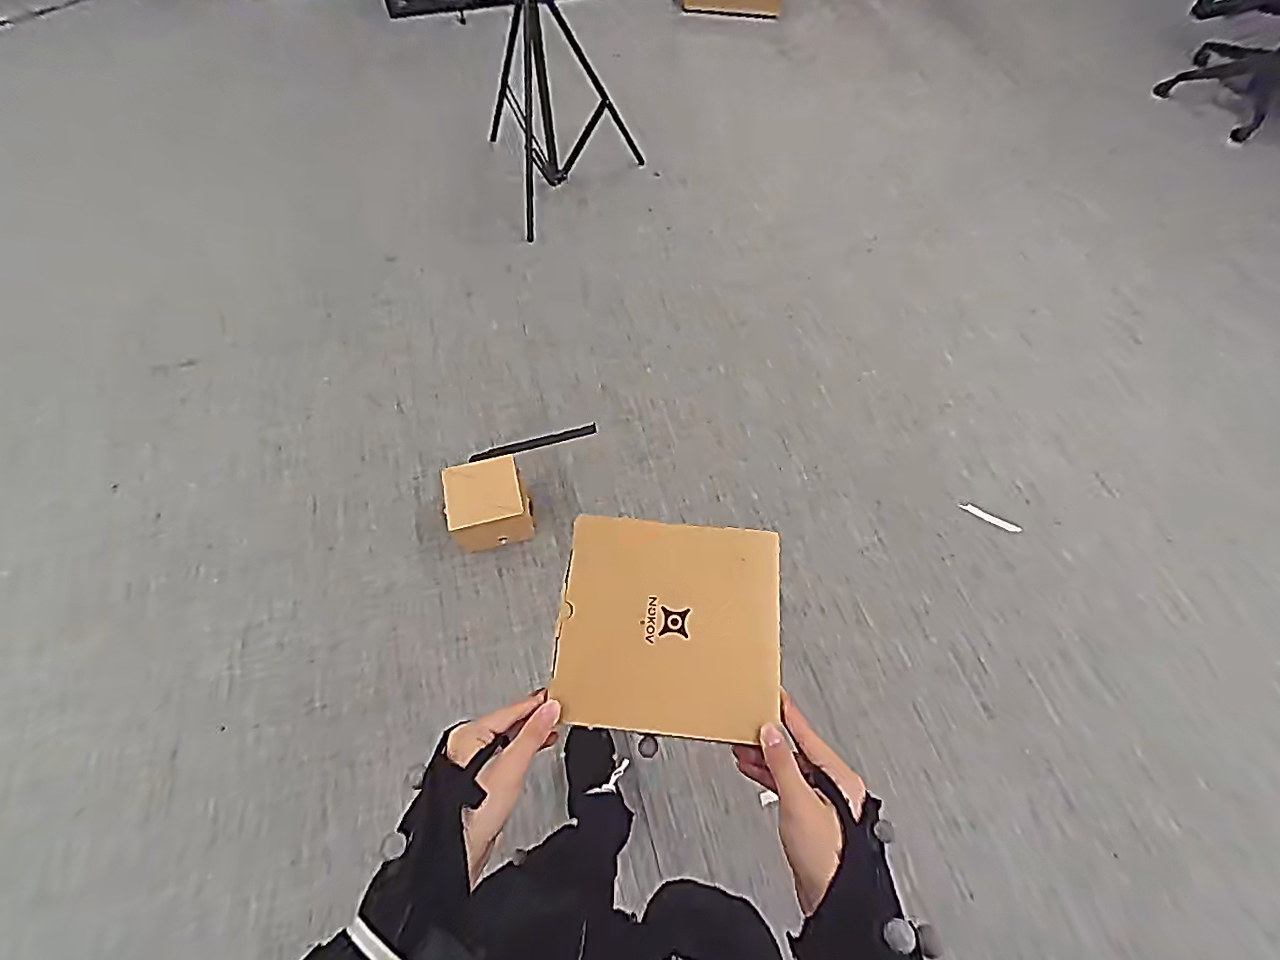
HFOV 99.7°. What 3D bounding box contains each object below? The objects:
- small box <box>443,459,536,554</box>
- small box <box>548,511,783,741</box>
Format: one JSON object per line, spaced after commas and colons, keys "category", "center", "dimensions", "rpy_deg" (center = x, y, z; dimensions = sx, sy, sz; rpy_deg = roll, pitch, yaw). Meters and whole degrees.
{"category": "small box", "center": [-0.373, 0.066, 1.350], "dimensions": [0.179, 0.176, 0.168], "rpy_deg": [-13, 65, -8]}
{"category": "small box", "center": [0.027, 0.140, 0.502], "dimensions": [0.179, 0.176, 0.168], "rpy_deg": [4, 66, 4]}
